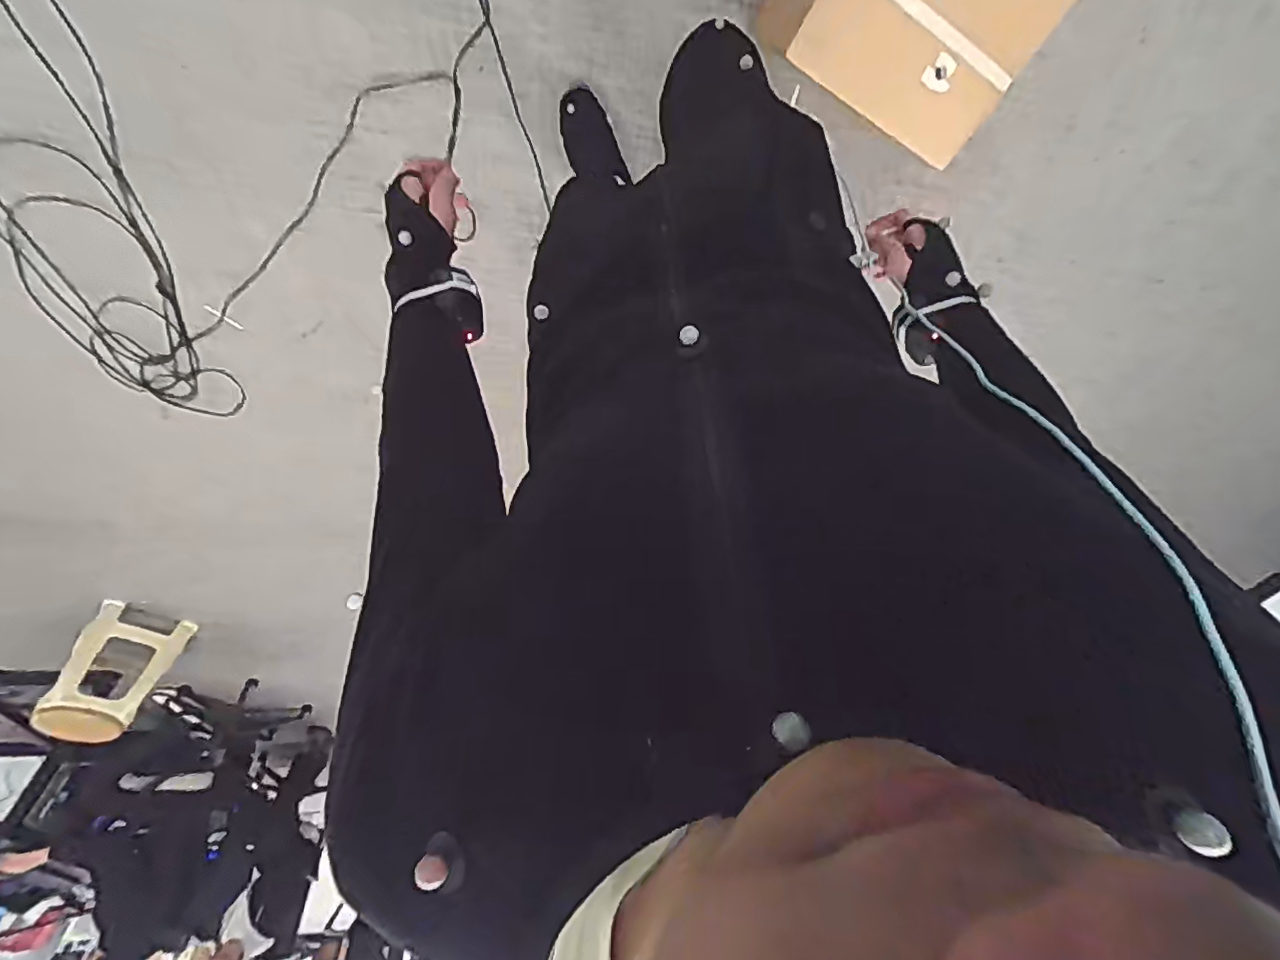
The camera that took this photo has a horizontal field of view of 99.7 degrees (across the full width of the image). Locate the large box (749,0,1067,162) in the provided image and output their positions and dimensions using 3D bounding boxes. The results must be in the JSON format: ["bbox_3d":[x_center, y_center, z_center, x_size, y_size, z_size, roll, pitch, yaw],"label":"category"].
[{"bbox_3d":[0.480,-0.887,1.024,0.408,0.320,0.320,18,130,-21],"label":"large box"}]
